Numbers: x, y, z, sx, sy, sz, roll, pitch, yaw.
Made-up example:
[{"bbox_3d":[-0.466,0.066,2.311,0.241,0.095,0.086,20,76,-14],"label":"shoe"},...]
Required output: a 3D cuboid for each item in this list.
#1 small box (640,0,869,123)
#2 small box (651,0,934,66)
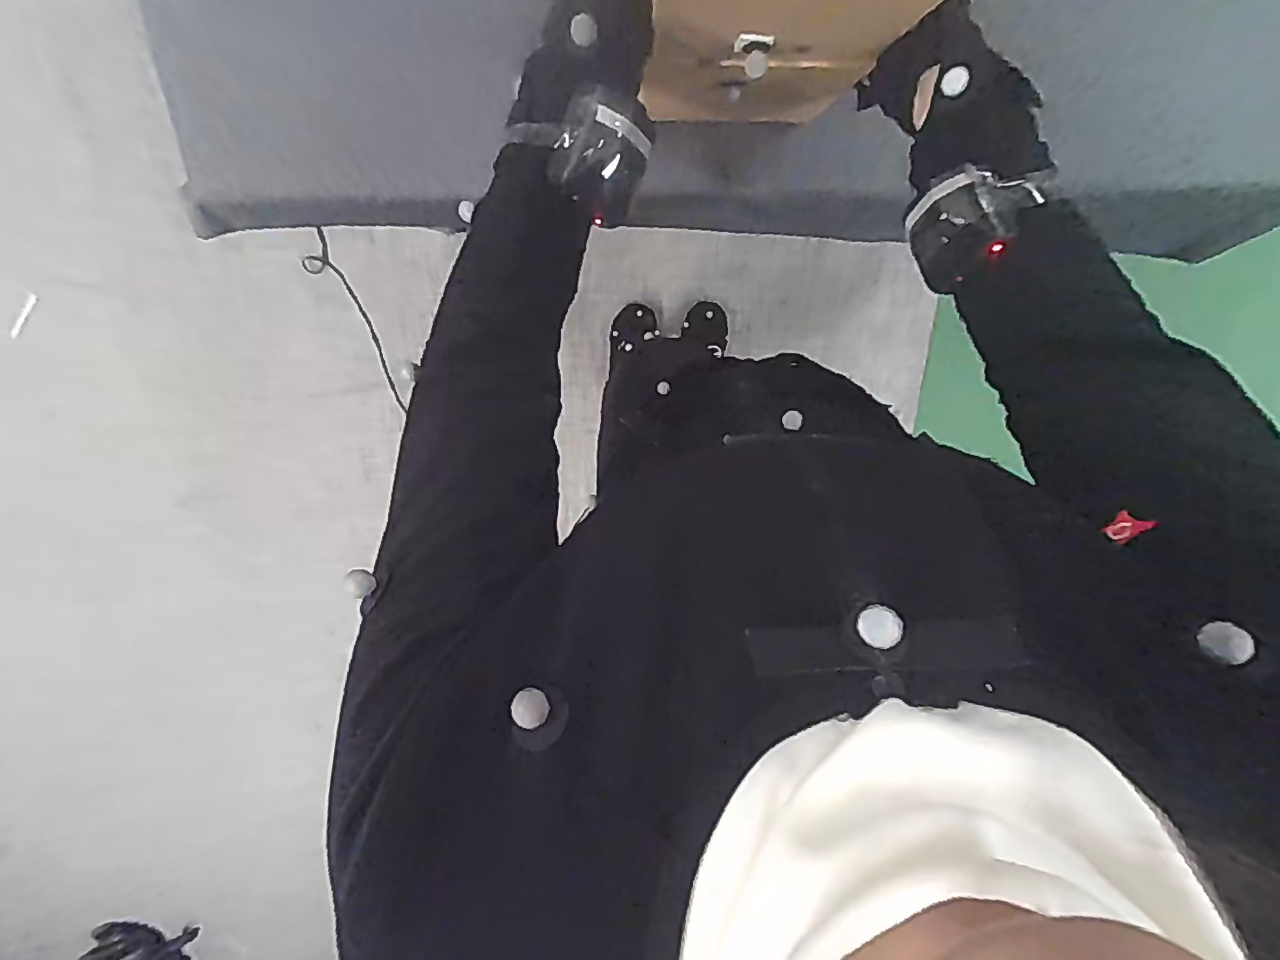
[{"bbox_3d":[0.089,-0.419,0.462,0.179,0.176,0.168,0,112,-1],"label":"small box"},{"bbox_3d":[0.089,-0.359,0.293,0.168,0.176,0.179,0,112,1],"label":"small box"}]
